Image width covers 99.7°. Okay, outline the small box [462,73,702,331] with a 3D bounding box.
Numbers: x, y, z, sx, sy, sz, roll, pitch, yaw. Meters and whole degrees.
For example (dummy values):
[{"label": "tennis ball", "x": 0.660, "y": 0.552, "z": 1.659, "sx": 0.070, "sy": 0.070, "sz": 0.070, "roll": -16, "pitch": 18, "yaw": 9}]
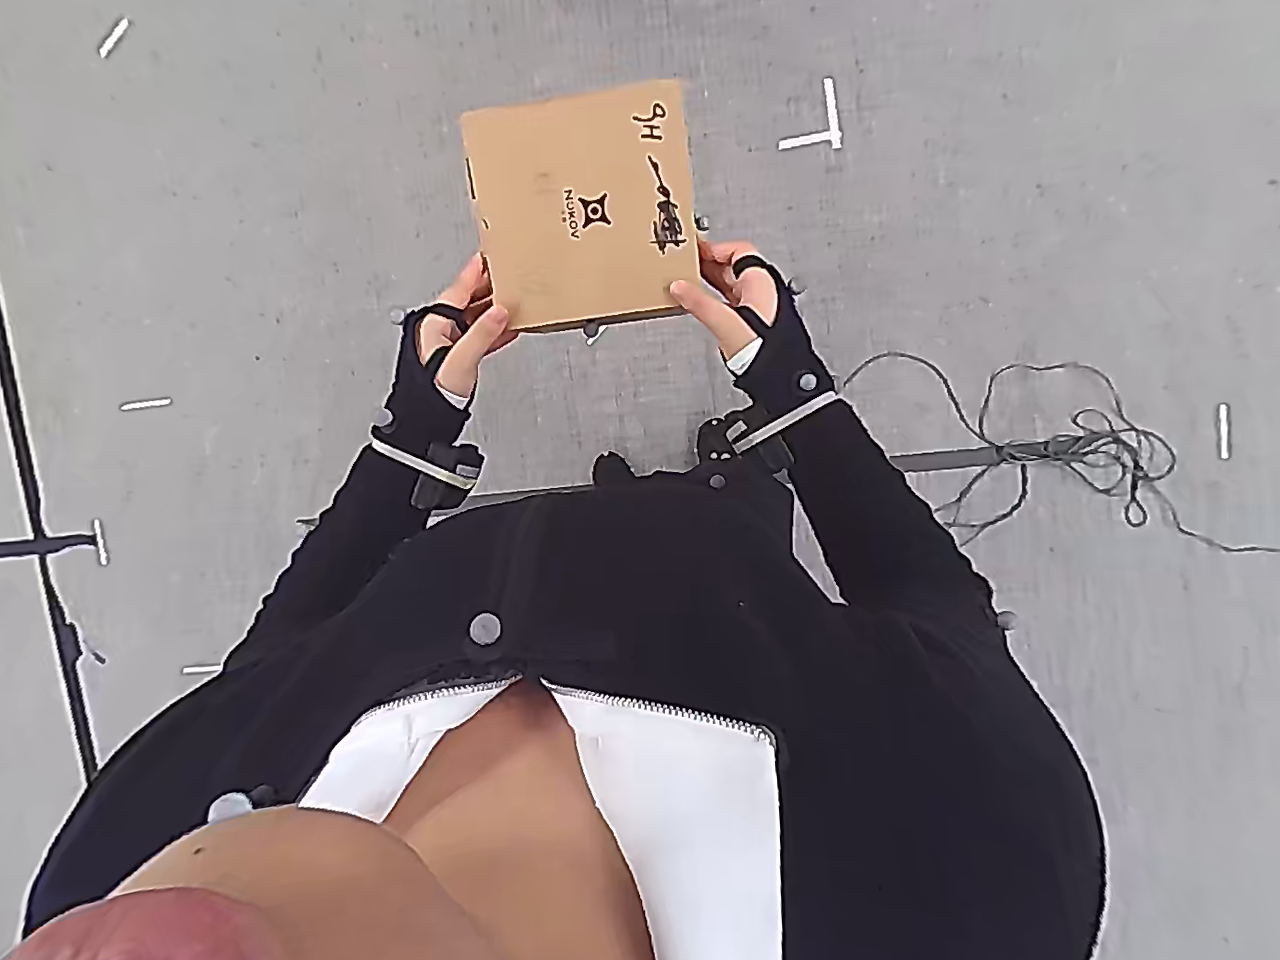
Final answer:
[{"label": "small box", "x": -0.040, "y": -0.235, "z": 0.504, "sx": 0.179, "sy": 0.176, "sz": 0.168, "roll": -6, "pitch": 103, "yaw": 4}]
